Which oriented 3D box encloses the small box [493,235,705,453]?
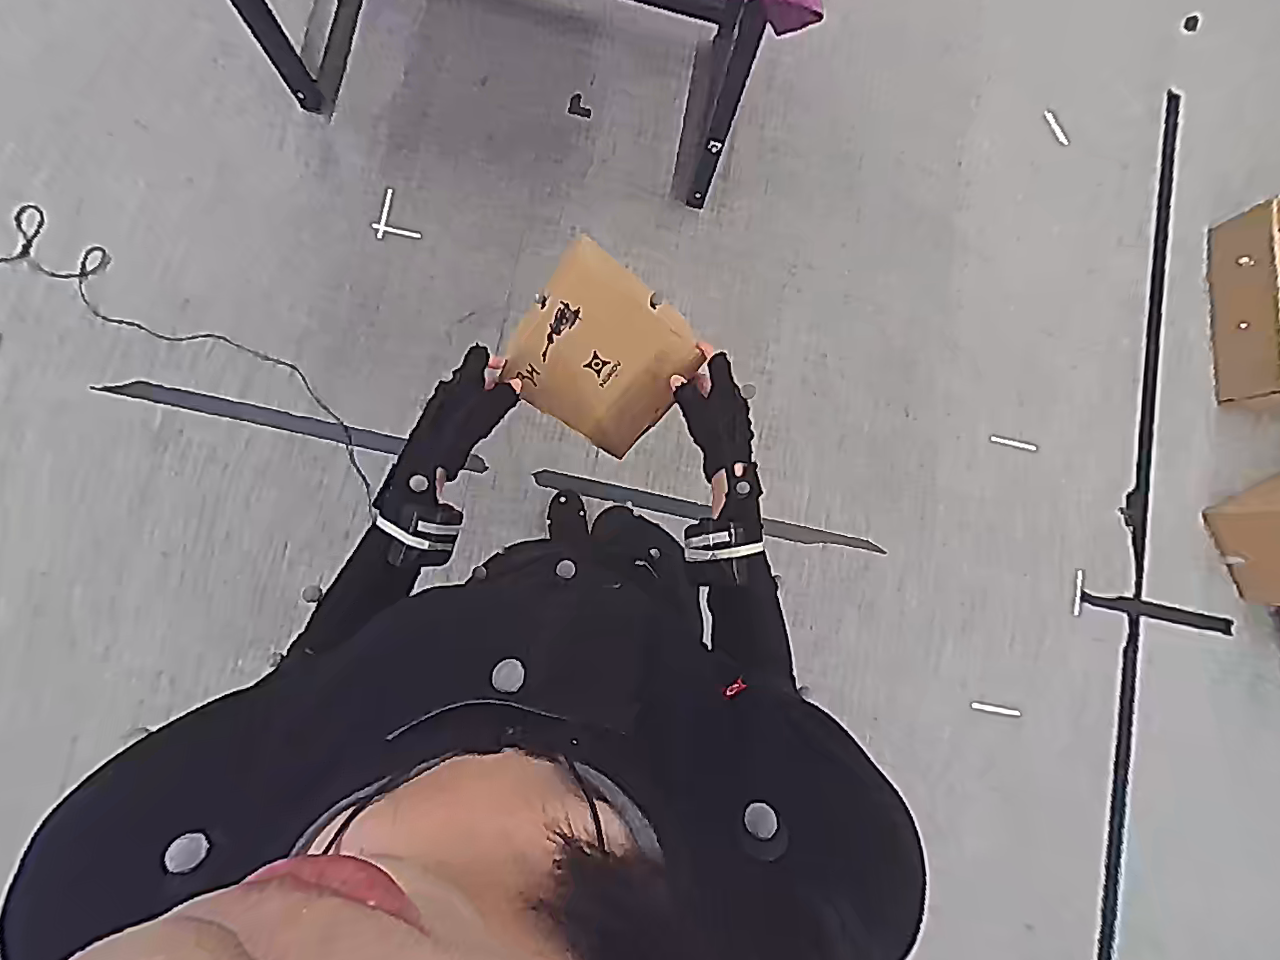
[{"bbox_3d":[-0.051,-0.170,0.654,0.179,0.176,0.168,32,112,-23],"label":"small box"}]
